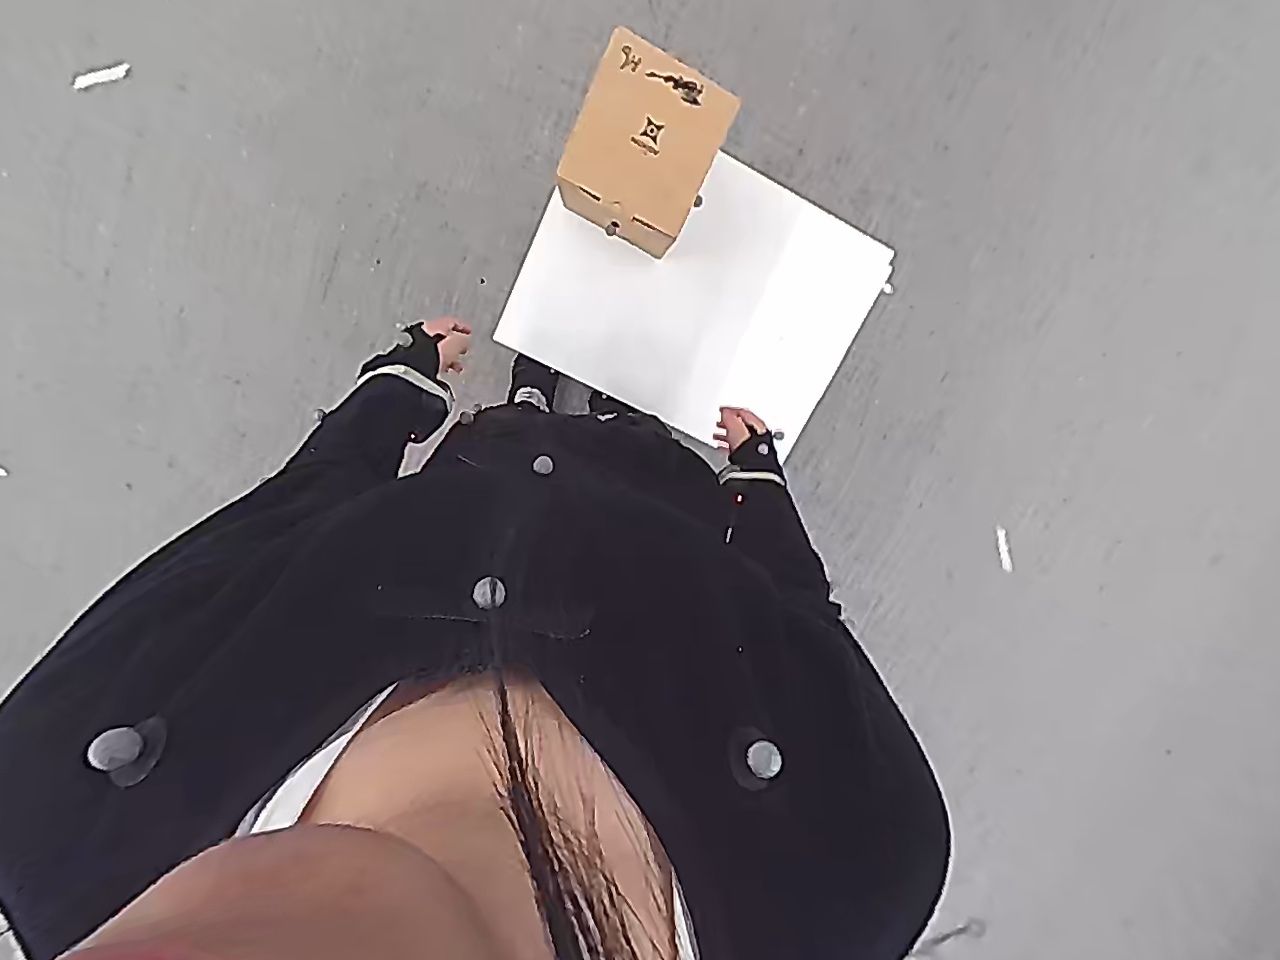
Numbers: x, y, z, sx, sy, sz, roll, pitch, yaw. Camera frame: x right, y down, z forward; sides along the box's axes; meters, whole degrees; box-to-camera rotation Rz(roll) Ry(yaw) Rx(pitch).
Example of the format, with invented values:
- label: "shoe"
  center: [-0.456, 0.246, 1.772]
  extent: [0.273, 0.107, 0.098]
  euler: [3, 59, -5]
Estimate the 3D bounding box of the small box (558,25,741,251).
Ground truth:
- label: "small box"
  center: [0.007, -0.427, 0.716]
  extent: [0.168, 0.176, 0.179]
  euler: [25, 103, -10]
